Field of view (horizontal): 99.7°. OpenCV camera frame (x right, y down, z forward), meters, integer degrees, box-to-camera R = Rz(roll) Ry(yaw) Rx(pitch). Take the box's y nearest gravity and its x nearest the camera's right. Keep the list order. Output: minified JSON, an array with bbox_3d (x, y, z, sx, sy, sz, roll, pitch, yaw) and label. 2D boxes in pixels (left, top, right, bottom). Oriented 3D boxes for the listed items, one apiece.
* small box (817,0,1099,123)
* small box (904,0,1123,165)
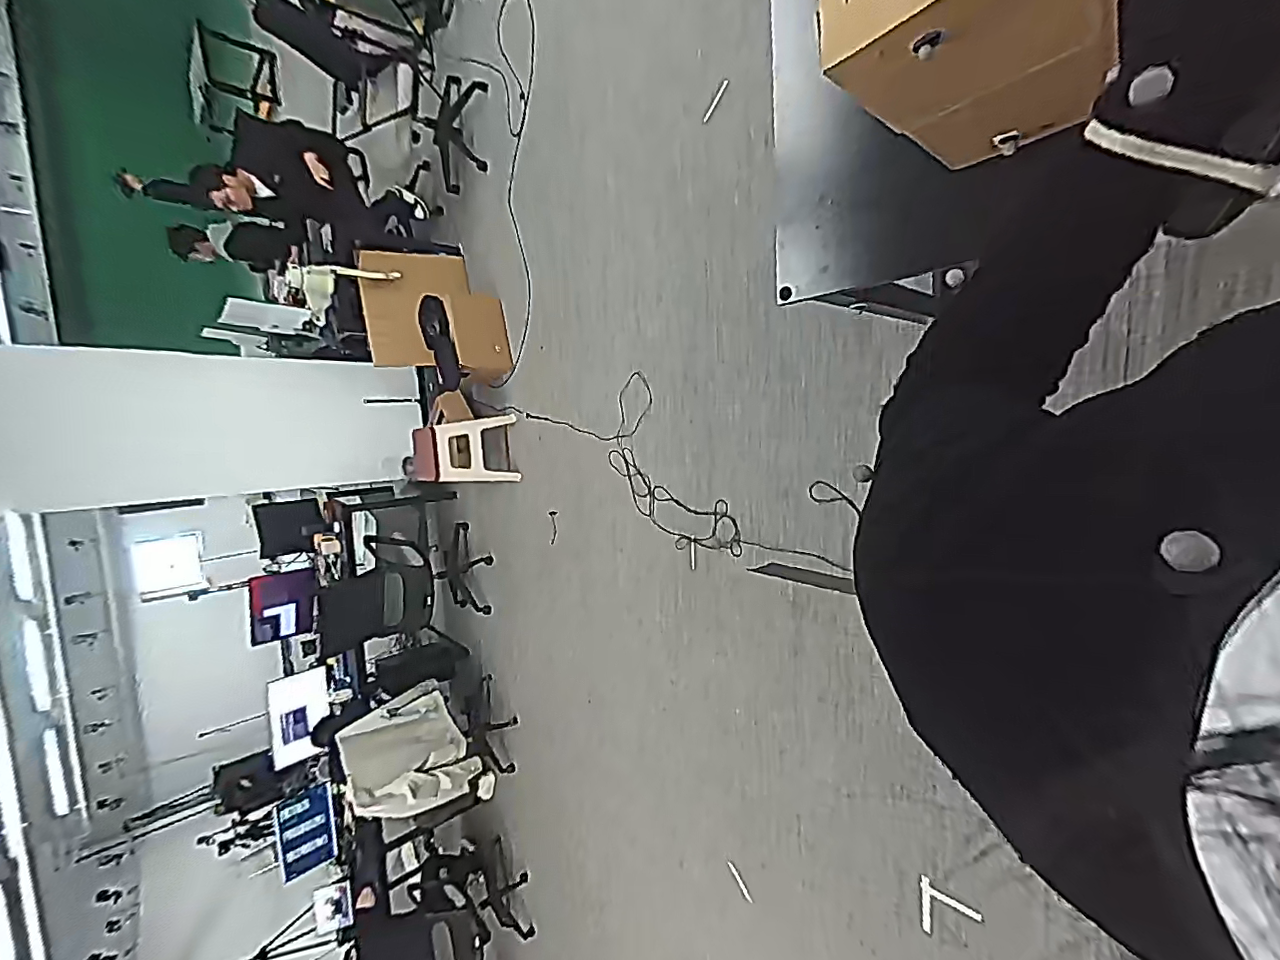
[{"bbox_3d":[0.276,-0.461,0.480,0.179,0.176,0.168,-2,94,48],"label":"small box"},{"bbox_3d":[0.400,-0.482,0.586,0.168,0.176,0.179,-2,96,50],"label":"small box"}]
